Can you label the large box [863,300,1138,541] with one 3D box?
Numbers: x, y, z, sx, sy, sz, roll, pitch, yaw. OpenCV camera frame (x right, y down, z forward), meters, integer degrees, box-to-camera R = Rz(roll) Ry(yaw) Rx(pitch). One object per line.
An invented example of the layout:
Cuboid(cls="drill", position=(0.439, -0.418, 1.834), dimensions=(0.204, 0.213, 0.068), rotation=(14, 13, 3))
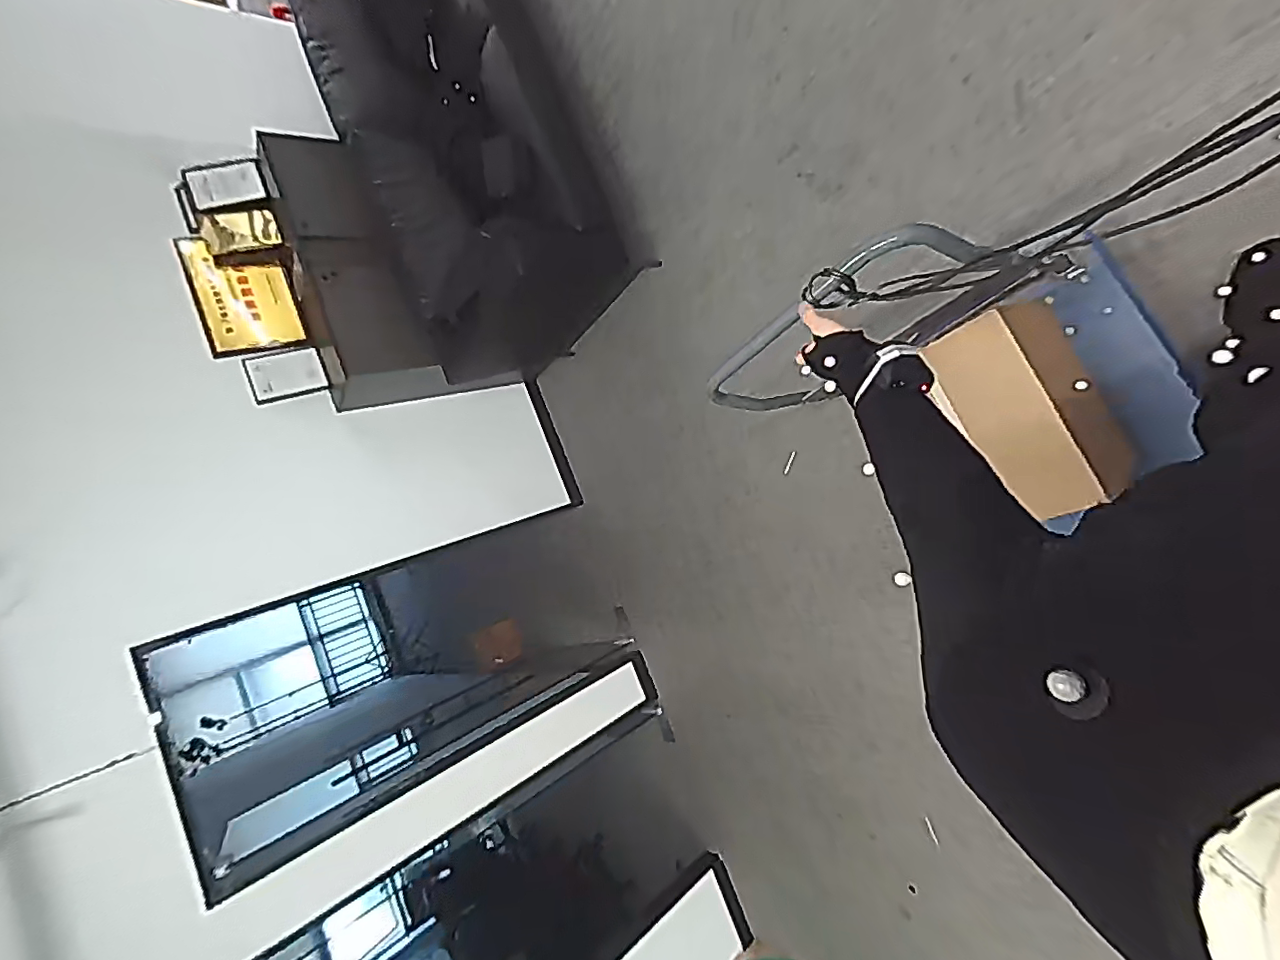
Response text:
Cuboid(cls="large box", position=(0.780, -0.134, 1.185), dimensions=(0.320, 0.320, 0.408), rotation=(-35, 77, 51))
